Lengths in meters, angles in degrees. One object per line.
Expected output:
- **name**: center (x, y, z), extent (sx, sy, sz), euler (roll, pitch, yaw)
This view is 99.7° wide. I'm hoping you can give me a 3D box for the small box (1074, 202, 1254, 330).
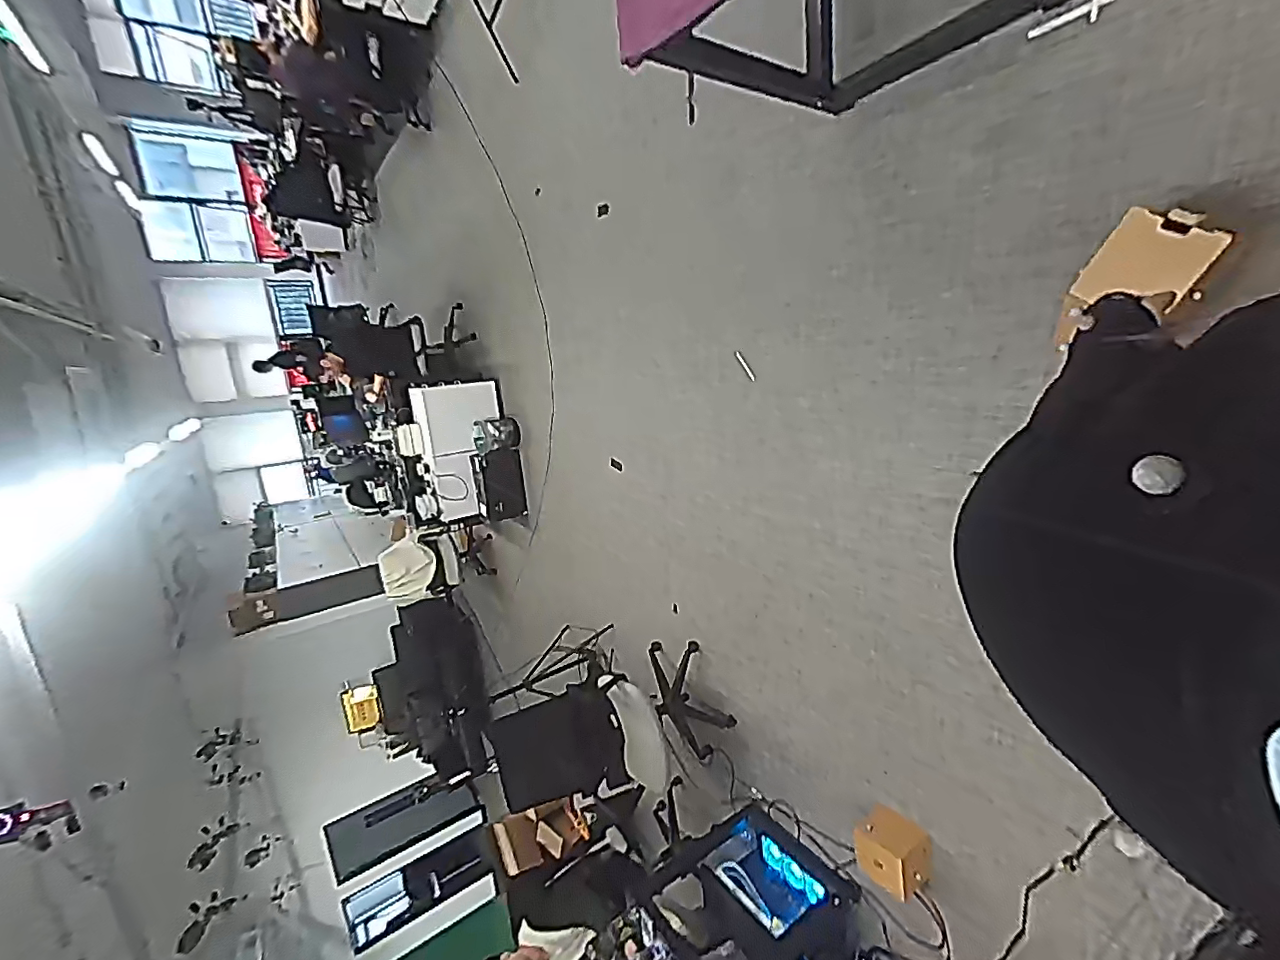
- **small box**: center (1.004, -0.407, 1.037), extent (0.168, 0.176, 0.179), euler (50, 138, 35)
